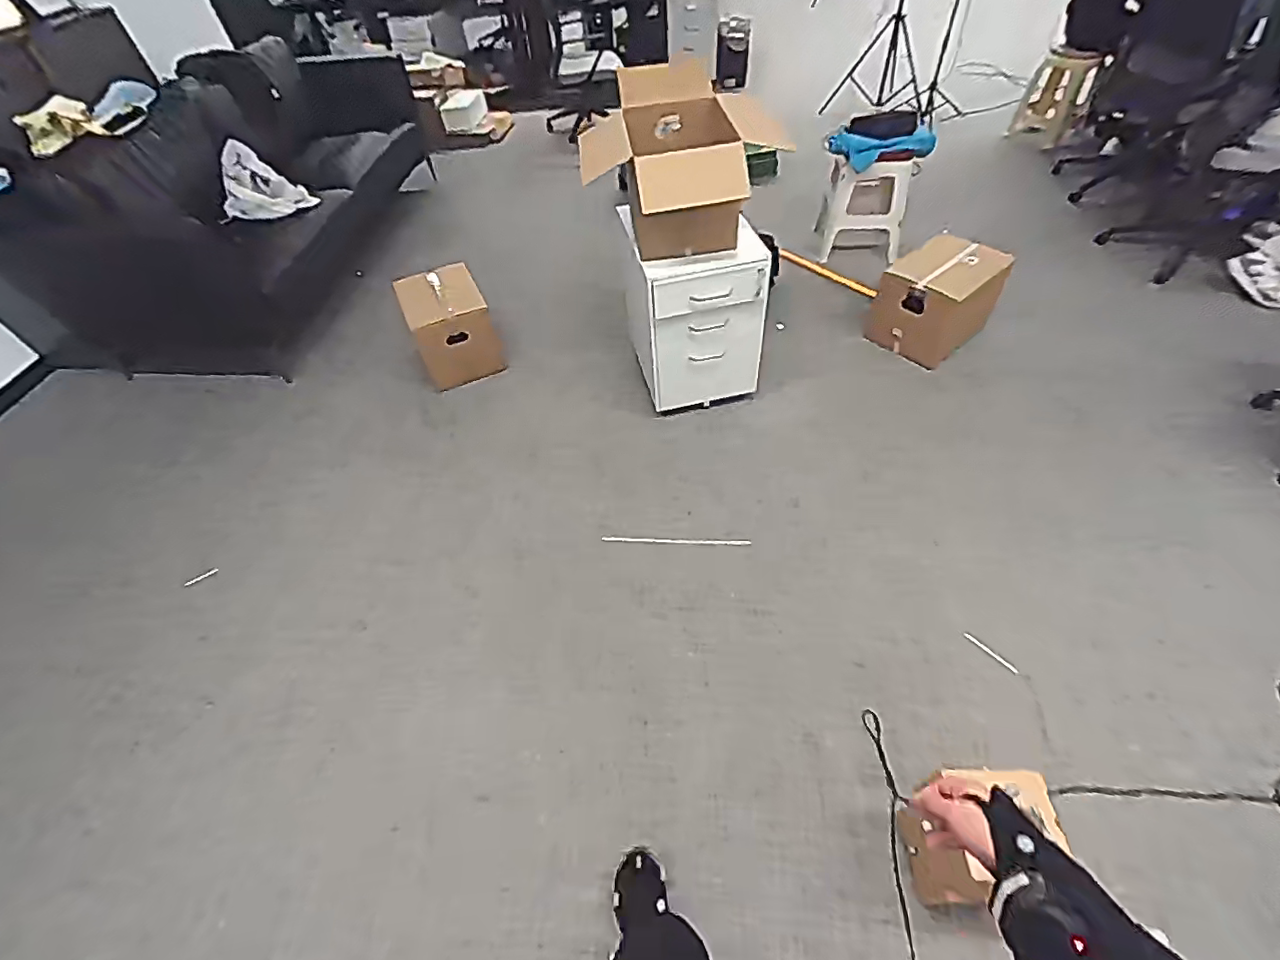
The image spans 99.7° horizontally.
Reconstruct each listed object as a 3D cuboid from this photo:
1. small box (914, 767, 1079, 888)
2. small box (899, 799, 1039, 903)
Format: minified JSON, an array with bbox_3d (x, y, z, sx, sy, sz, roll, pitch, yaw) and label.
[{"bbox_3d":[0.634,0.638,0.990,0.179,0.176,0.168,-2,49,6],"label":"small box"},{"bbox_3d":[0.651,0.756,1.103,0.179,0.176,0.168,-4,50,2],"label":"small box"}]
